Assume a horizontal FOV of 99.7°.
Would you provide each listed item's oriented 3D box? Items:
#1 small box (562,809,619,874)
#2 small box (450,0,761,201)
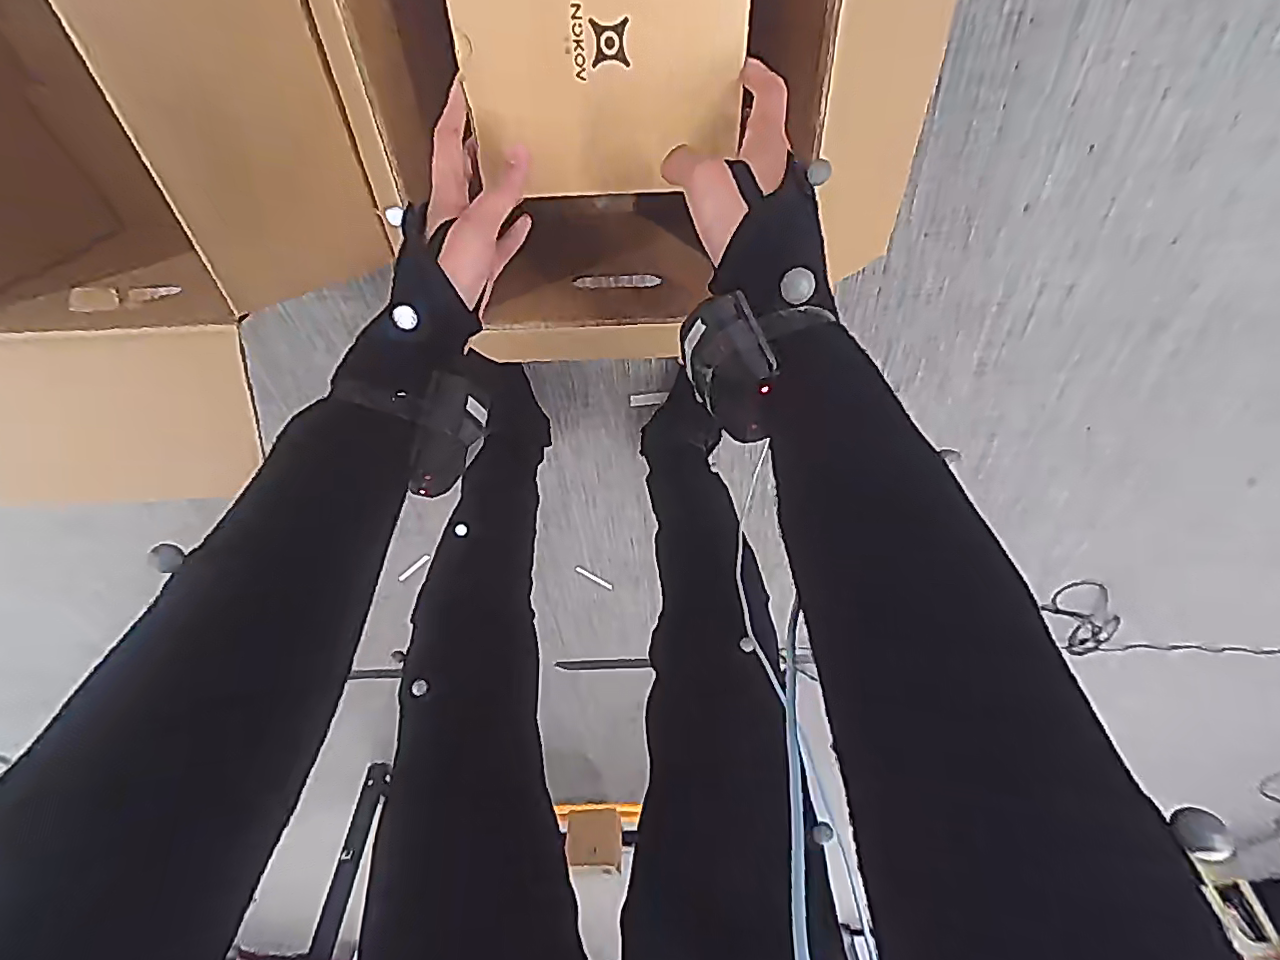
[{"bbox_3d":[-0.170,1.289,1.930,0.179,0.176,0.168,-3,133,5],"label":"small box"},{"bbox_3d":[-0.021,-0.306,0.371,0.179,0.176,0.168,-2,133,0],"label":"small box"}]
